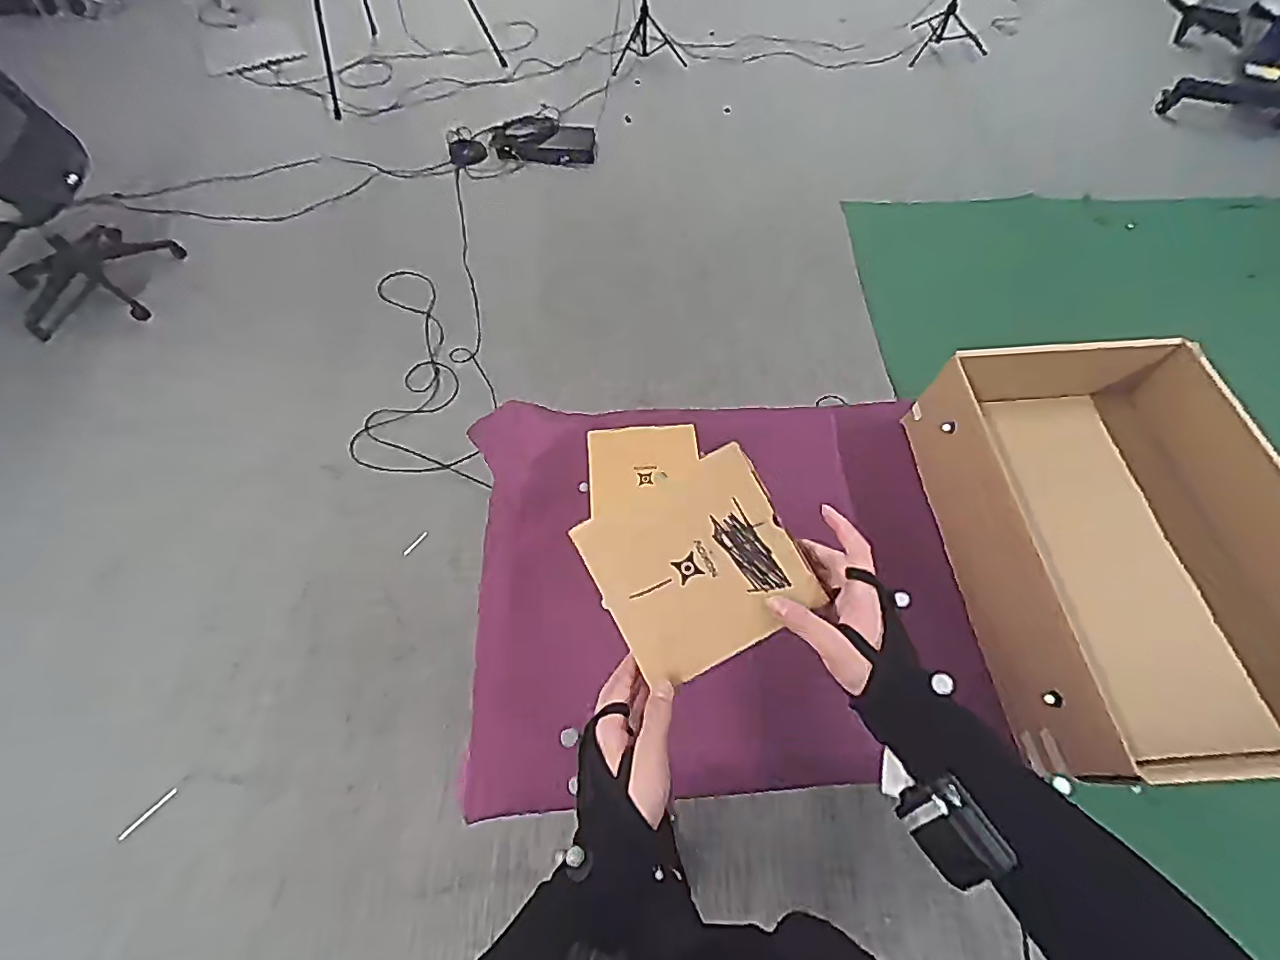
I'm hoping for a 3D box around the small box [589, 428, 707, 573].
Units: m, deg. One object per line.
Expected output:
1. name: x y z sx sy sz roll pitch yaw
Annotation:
1. small box: 0.009 0.041 0.858 0.168 0.176 0.179 -4 59 -2
